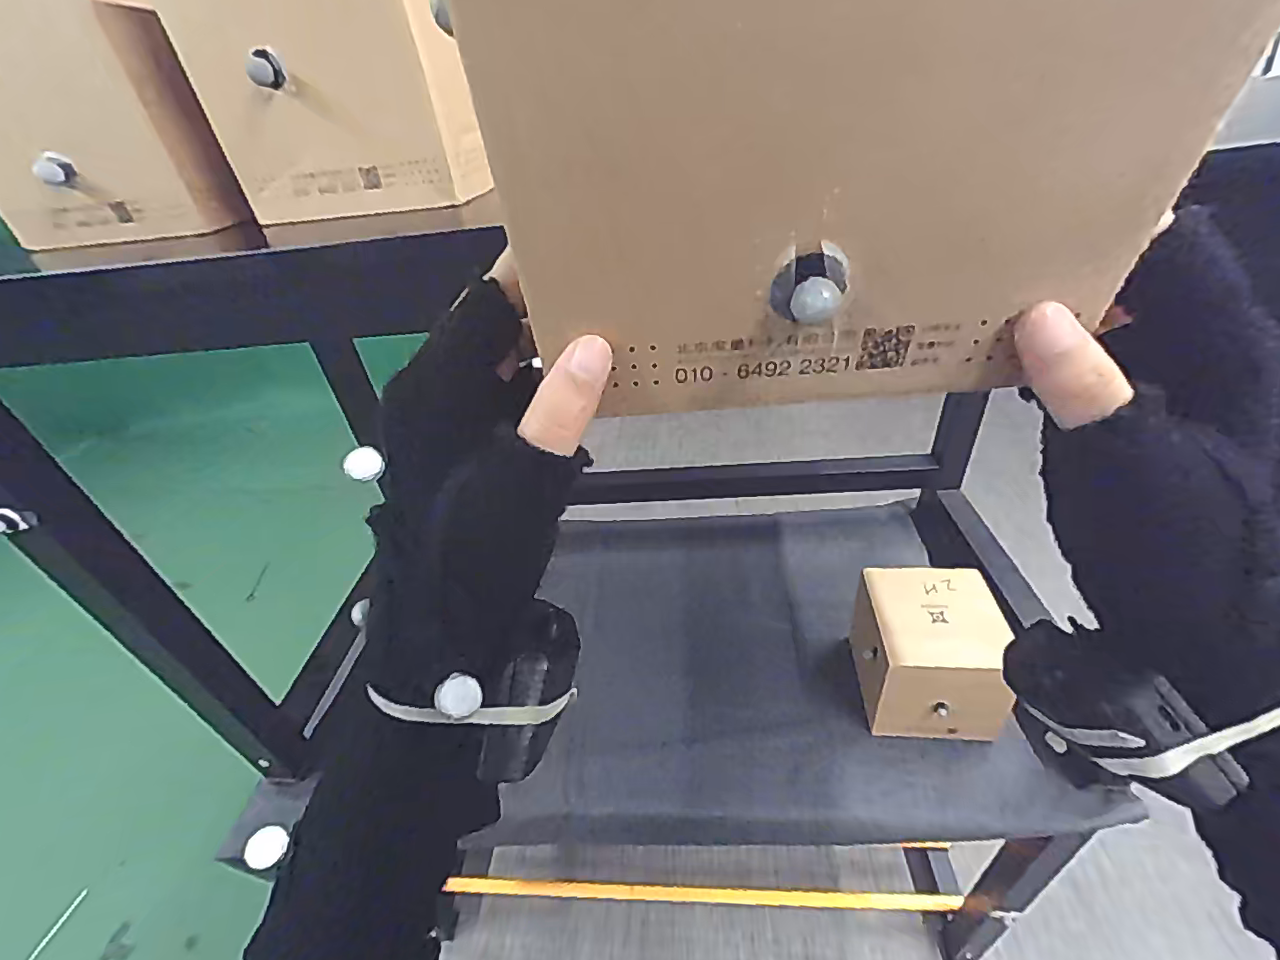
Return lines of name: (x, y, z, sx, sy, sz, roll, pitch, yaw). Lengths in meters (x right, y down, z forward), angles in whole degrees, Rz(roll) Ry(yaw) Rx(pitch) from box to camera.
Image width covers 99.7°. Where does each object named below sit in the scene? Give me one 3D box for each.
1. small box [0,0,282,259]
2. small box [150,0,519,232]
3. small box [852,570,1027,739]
small box: (-0.405, -0.293, 0.447, 0.168, 0.176, 0.179, -2, 37, 8)
small box: (-0.210, -0.303, 0.429, 0.168, 0.176, 0.179, -2, 36, 9)
small box: (0.416, 0.252, 0.788, 0.168, 0.176, 0.179, -1, 36, 9)
